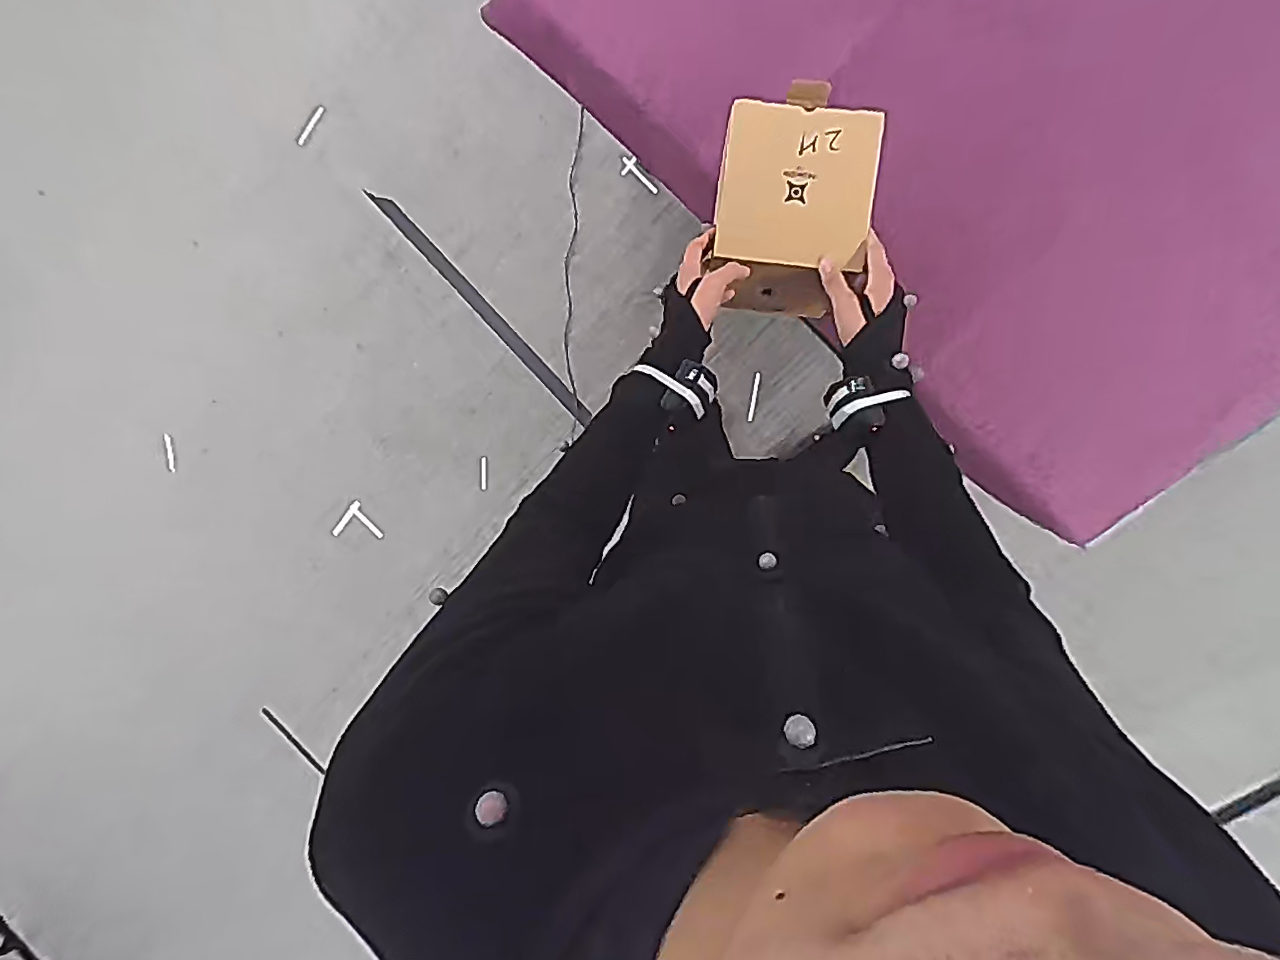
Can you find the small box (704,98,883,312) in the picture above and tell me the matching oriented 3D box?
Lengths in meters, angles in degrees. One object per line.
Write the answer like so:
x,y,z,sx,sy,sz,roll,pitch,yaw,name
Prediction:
0.175,-0.323,0.672,0.168,0.176,0.179,8,90,2,small box
